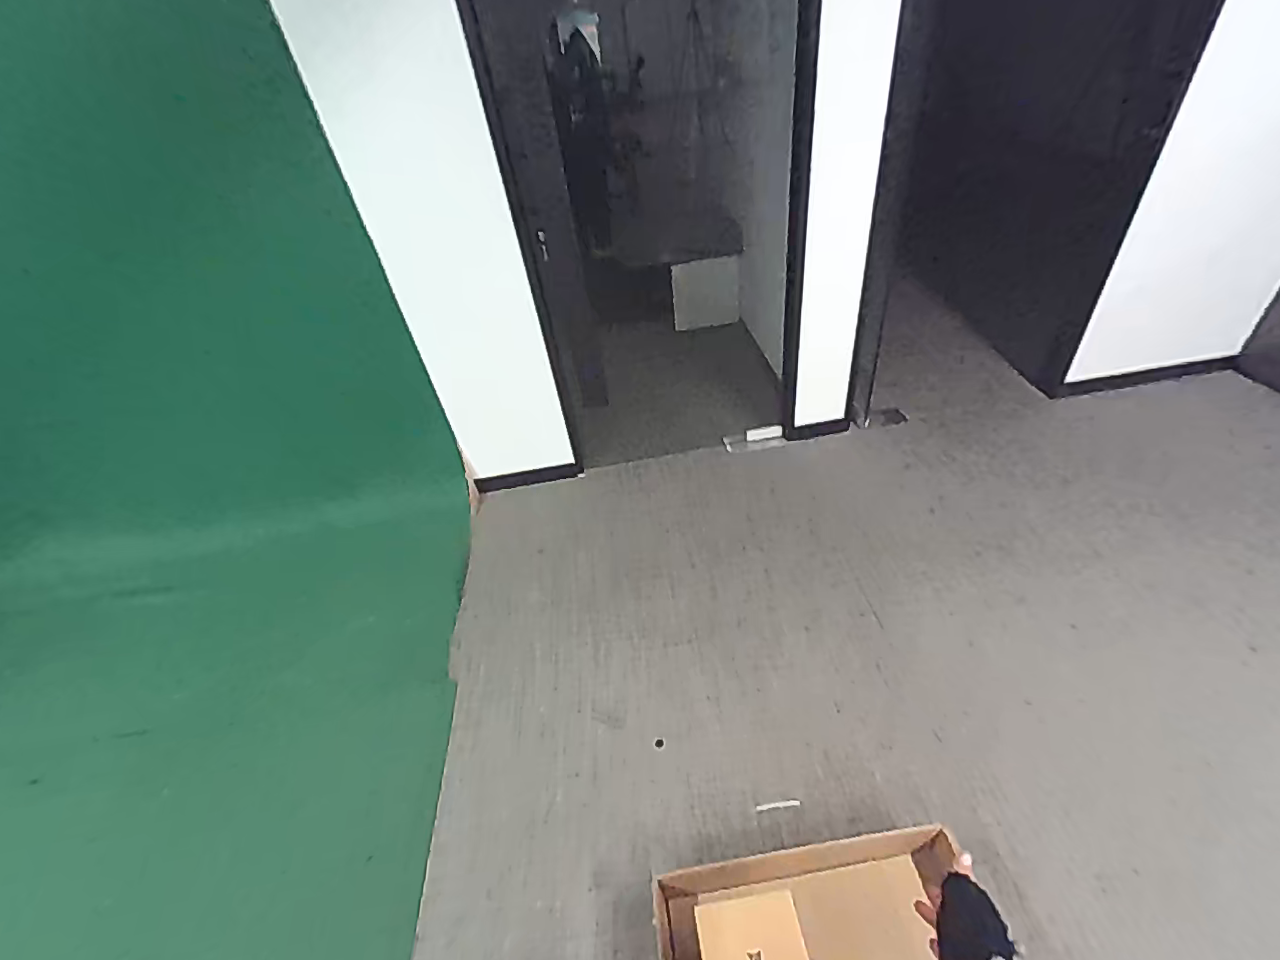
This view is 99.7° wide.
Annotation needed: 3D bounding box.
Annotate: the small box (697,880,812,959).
[{"bbox_3d":[0.190,0.799,0.890,0.168,0.176,0.179,-9,40,-1],"label":"small box"}]
